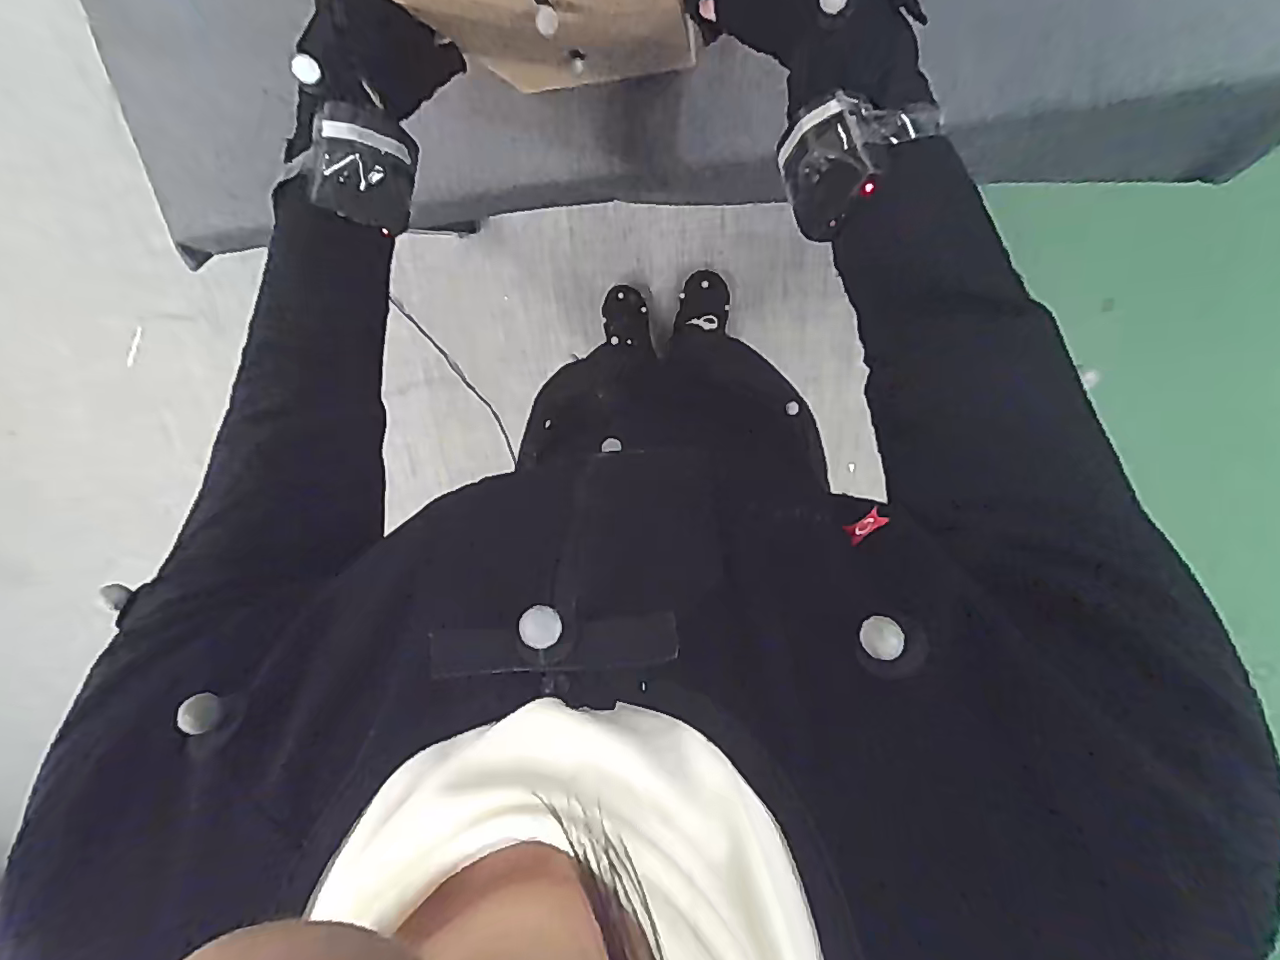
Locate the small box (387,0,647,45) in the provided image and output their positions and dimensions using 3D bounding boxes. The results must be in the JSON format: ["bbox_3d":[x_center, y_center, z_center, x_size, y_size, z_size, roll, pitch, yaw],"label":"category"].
[{"bbox_3d":[-0.078,-0.370,0.289,0.179,0.176,0.168,-3,113,12],"label":"small box"}]

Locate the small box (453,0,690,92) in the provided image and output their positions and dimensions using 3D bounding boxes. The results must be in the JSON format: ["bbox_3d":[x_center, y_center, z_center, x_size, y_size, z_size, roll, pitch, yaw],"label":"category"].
[{"bbox_3d":[-0.052,-0.438,0.434,0.179,0.176,0.168,-1,113,11],"label":"small box"}]
